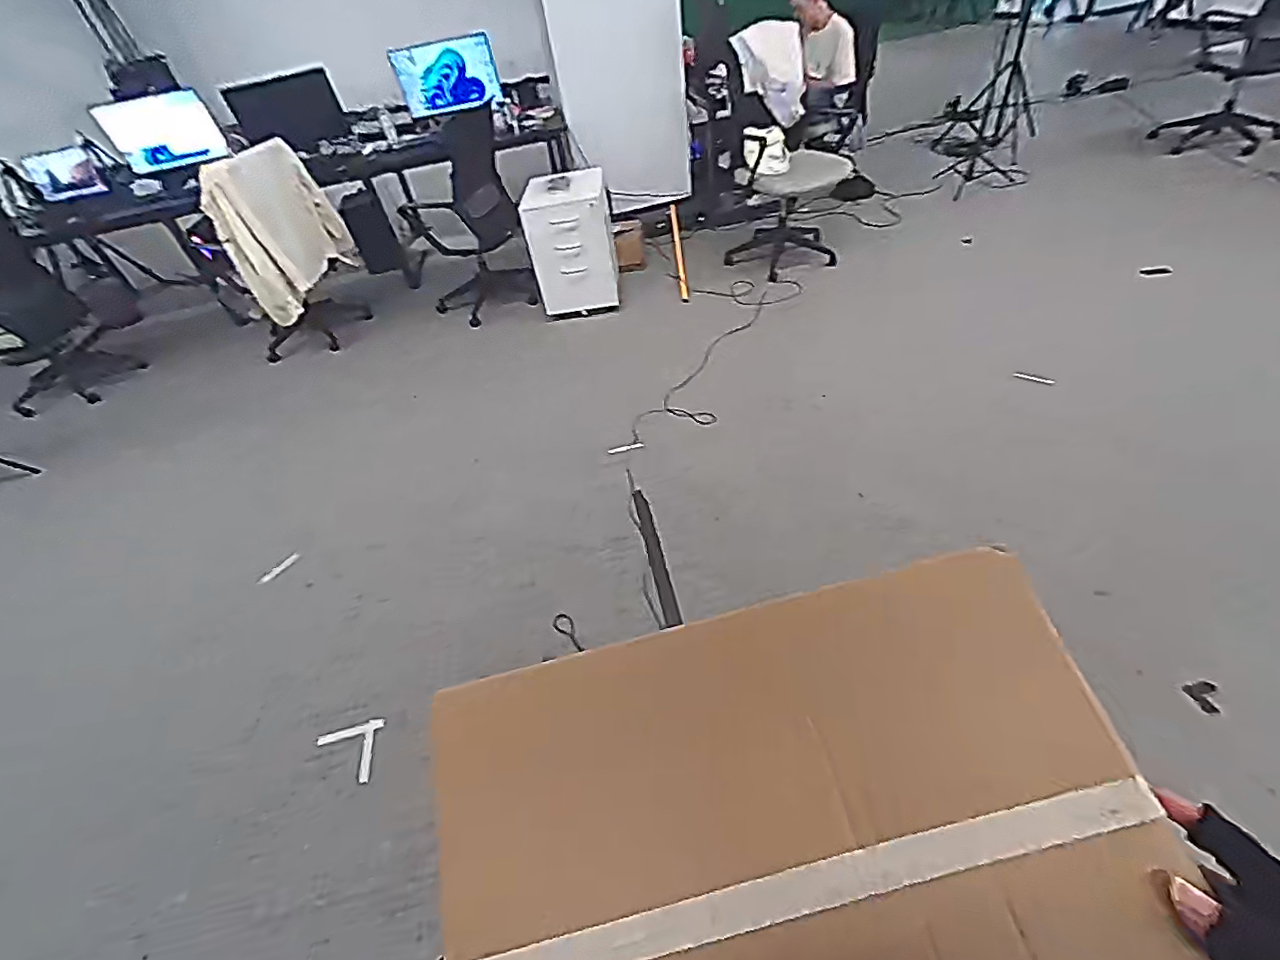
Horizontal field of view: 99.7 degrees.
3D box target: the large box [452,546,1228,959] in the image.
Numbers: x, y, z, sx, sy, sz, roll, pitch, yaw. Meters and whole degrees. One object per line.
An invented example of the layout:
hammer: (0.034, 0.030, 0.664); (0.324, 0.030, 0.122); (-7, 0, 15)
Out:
large box: (0.109, 0.294, 0.447); (0.408, 0.320, 0.320); (-15, 65, 0)
